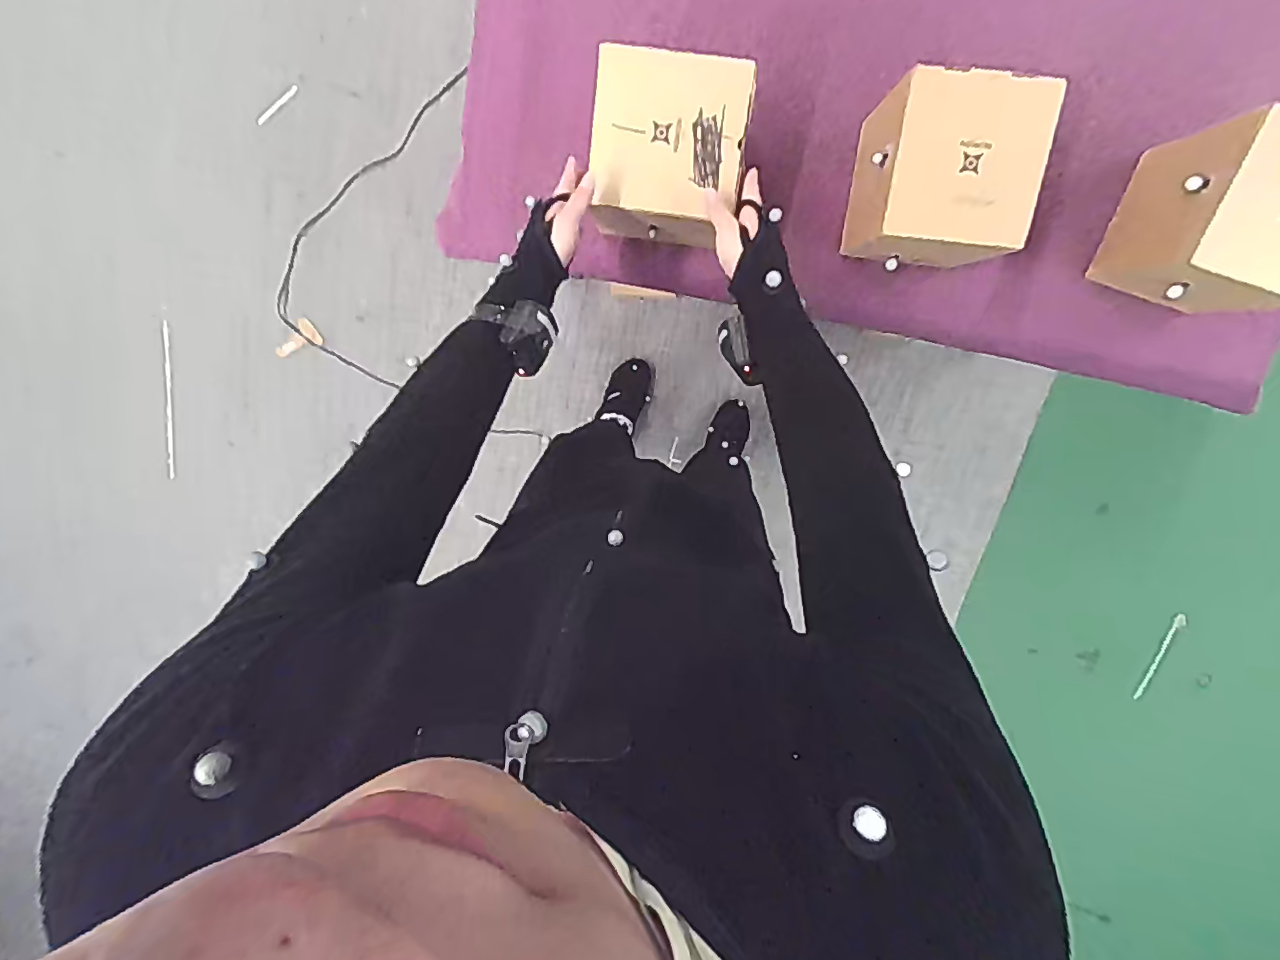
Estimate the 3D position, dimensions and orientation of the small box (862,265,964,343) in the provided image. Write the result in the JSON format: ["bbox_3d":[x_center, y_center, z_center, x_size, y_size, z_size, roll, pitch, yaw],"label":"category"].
[{"bbox_3d":[0.693,-0.450,1.393,0.168,0.176,0.179,4,104,0],"label":"small box"}]

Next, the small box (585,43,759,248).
[{"bbox_3d":[0.035,-0.399,0.677,0.179,0.176,0.168,8,103,1],"label":"small box"}]

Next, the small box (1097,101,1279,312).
[{"bbox_3d":[0.735,-0.320,0.676,0.168,0.176,0.179,17,103,-2],"label":"small box"}]

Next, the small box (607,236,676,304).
[{"bbox_3d":[0.008,-0.549,1.391,0.168,0.176,0.179,2,104,1],"label":"small box"}]

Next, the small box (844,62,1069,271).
[{"bbox_3d":[0.373,-0.373,0.675,0.168,0.176,0.179,7,104,1],"label":"small box"}]
